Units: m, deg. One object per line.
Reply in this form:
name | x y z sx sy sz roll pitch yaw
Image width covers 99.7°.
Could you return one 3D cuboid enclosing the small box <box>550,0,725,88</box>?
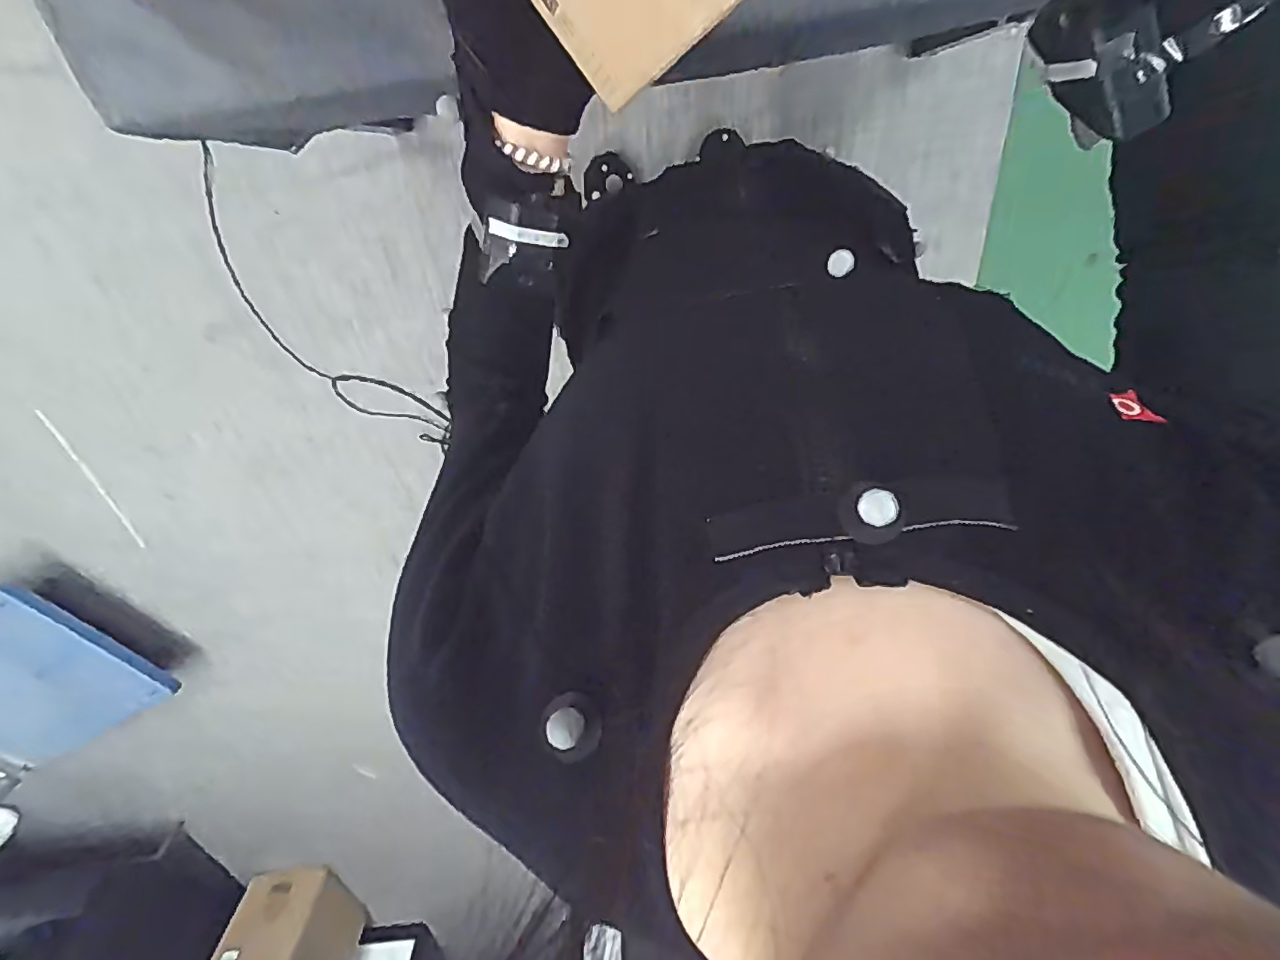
small box | 0.019 -0.302 0.207 0.179 0.176 0.168 -47 118 0
